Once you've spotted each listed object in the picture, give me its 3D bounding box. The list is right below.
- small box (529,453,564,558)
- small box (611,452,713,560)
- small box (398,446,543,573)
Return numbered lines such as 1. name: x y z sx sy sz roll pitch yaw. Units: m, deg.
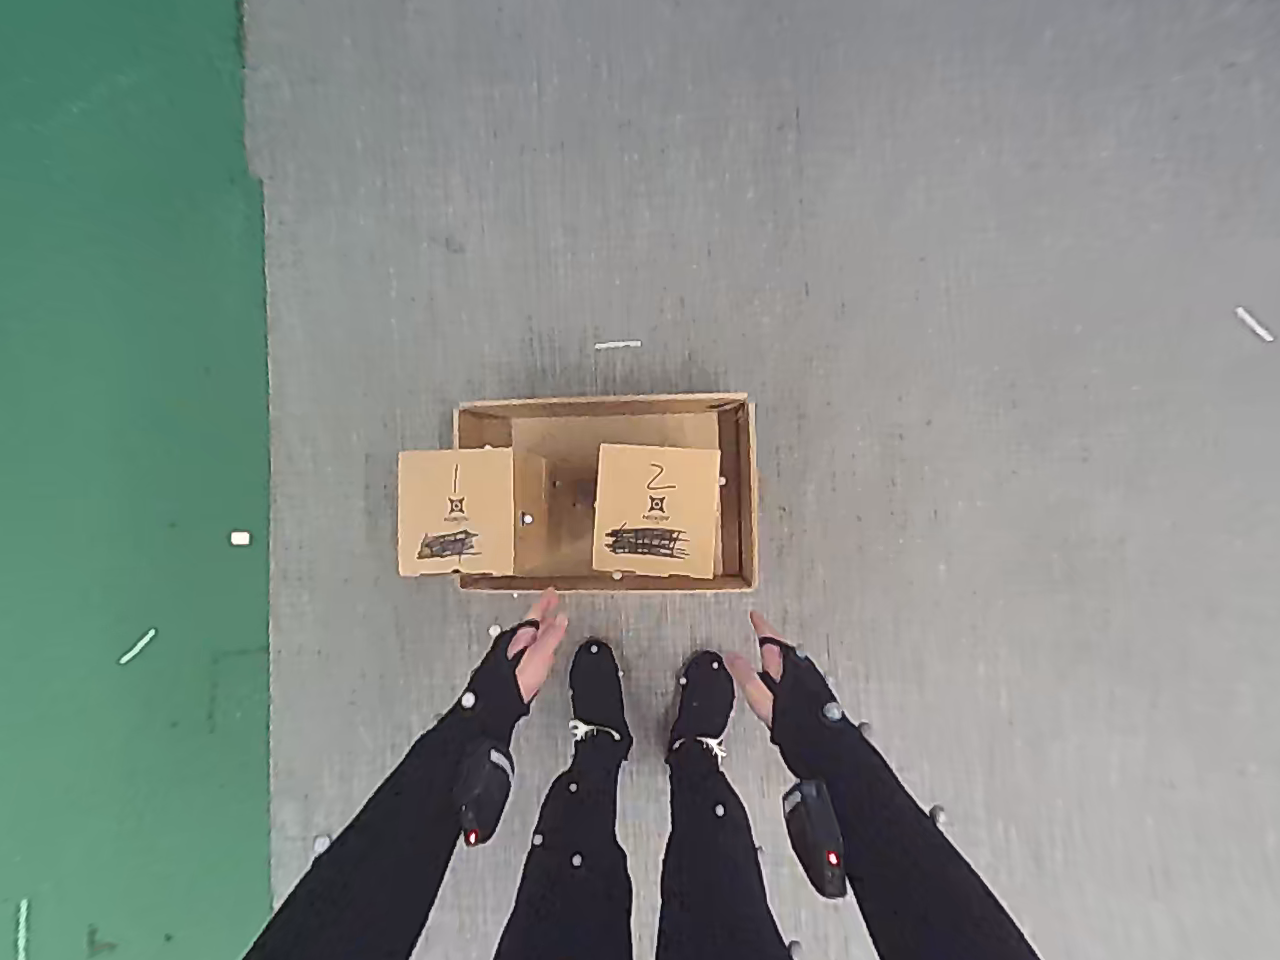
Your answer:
1. small box: -0.236 0.044 0.983 0.168 0.176 0.179 1 88 3
2. small box: 0.040 0.045 0.967 0.168 0.176 0.179 1 89 4
3. small box: -0.245 0.042 0.818 0.168 0.176 0.179 -1 87 3
